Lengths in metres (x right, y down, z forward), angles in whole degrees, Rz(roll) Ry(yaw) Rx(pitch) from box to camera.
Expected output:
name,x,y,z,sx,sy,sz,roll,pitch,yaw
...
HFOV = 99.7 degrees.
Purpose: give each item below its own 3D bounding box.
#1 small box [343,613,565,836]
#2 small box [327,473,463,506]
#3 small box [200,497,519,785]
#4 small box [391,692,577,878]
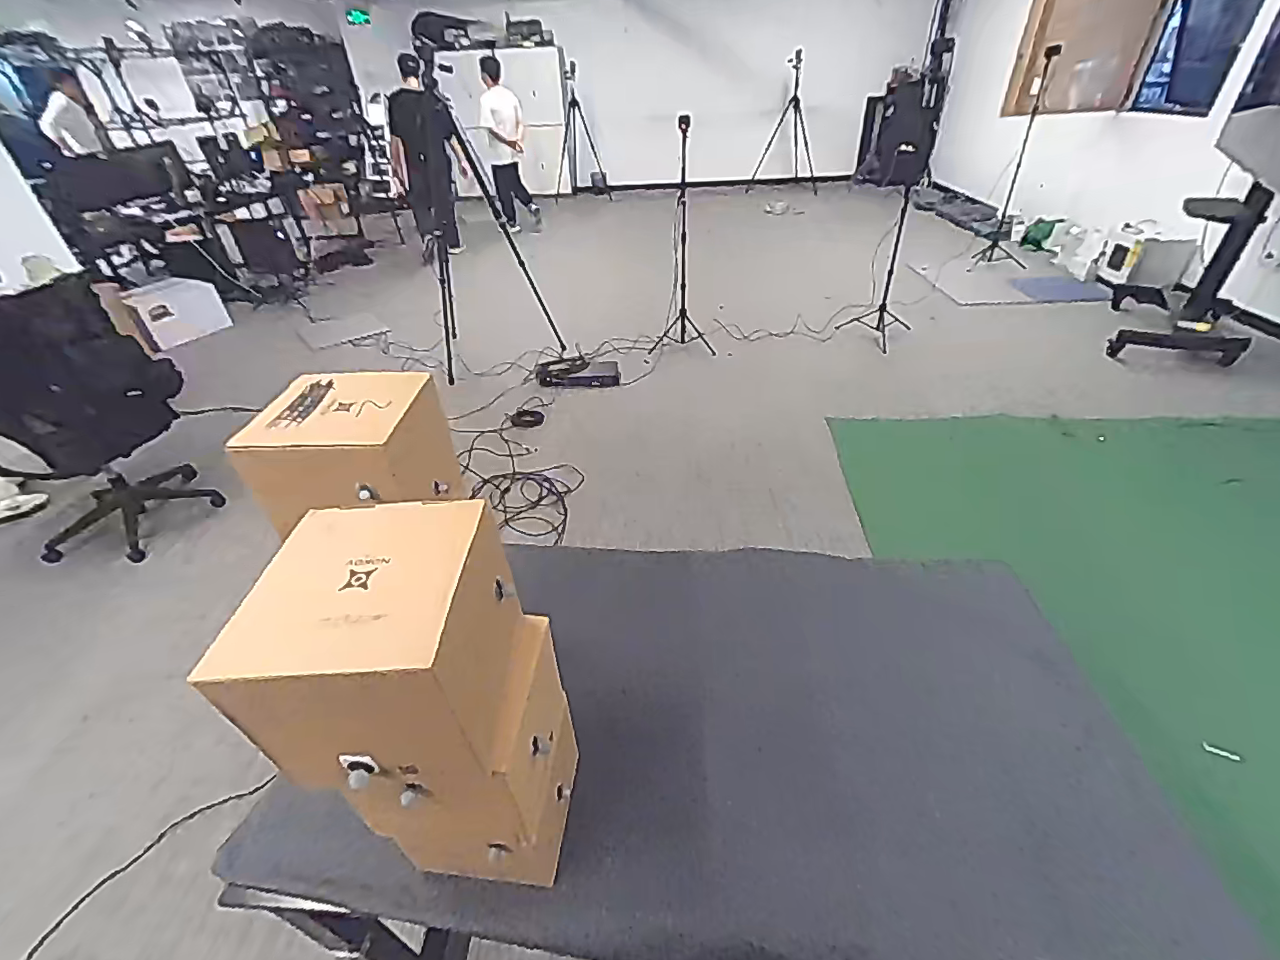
name,x,y,z,sx,sy,sz,roll,pitch,yaw
small box,-0.186,0.257,0.579,0.179,0.176,0.168,1,38,6
small box,-0.346,0.107,0.788,0.179,0.176,0.168,-2,39,3
small box,-0.210,0.137,0.472,0.168,0.176,0.179,-4,39,2
small box,-0.184,0.378,0.688,0.179,0.176,0.168,1,37,7
